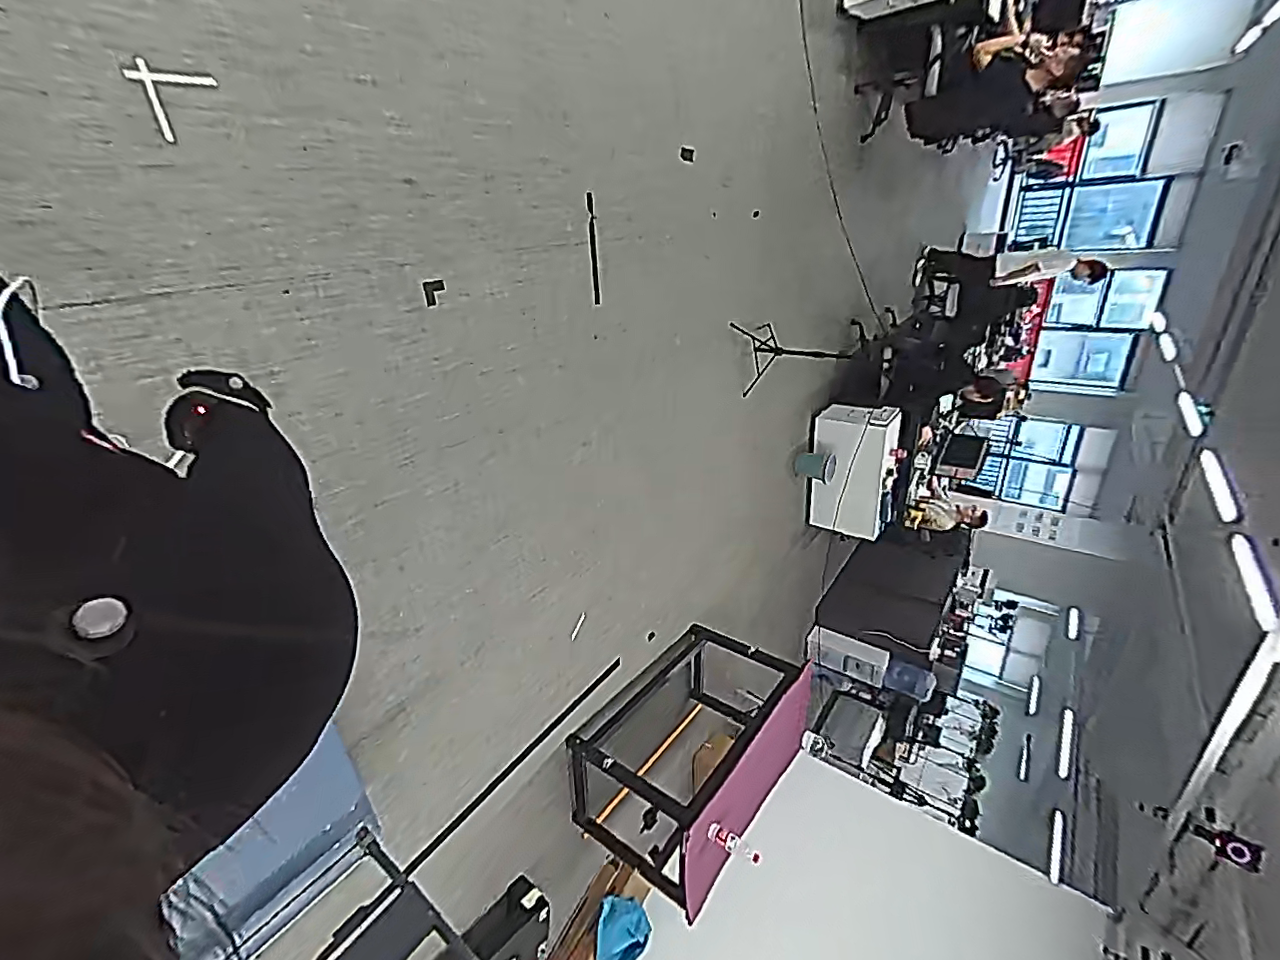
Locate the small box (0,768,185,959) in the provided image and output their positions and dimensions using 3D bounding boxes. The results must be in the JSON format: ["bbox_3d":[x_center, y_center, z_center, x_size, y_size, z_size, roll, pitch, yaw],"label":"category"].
[{"bbox_3d":[-0.898,0.622,0.886,0.168,0.176,0.179,-30,124,-45],"label":"small box"}]
